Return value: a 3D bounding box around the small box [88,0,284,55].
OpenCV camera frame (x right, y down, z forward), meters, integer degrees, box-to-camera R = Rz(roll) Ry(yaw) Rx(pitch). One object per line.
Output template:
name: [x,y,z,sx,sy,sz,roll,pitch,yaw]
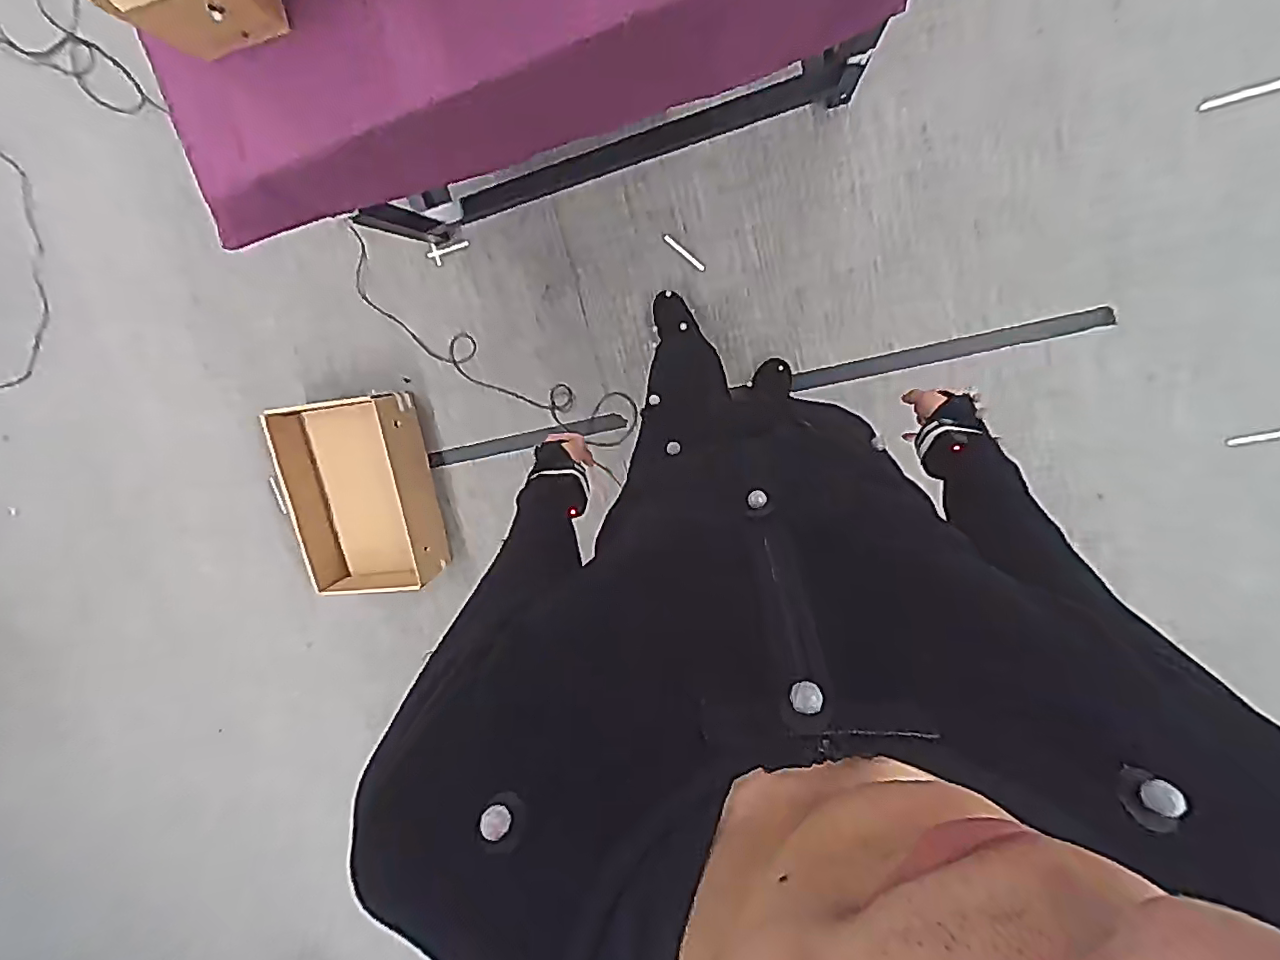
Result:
small box: [-0.636,-0.727,0.741,0.168,0.176,0.179,-8,103,11]
